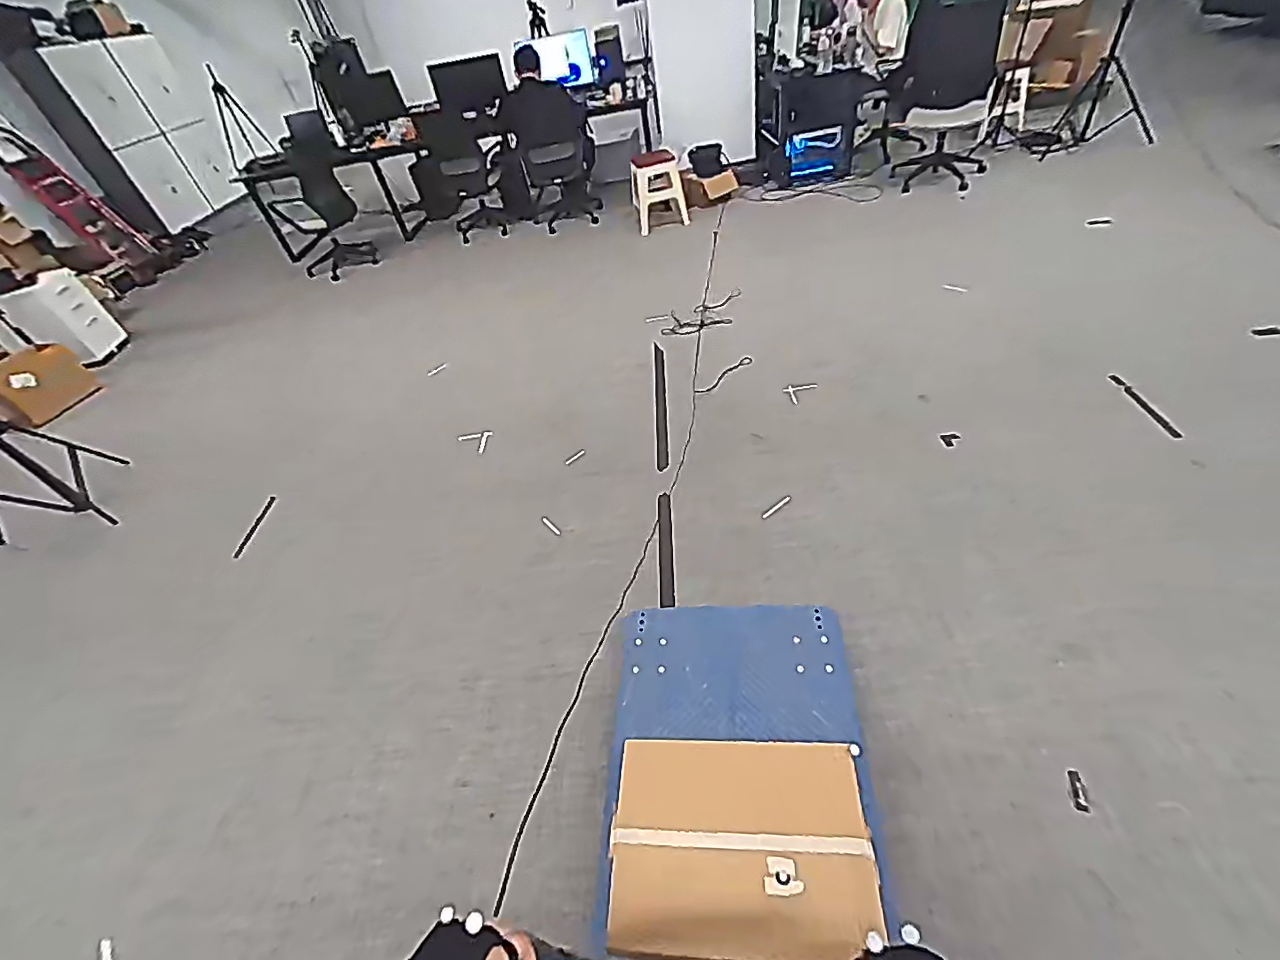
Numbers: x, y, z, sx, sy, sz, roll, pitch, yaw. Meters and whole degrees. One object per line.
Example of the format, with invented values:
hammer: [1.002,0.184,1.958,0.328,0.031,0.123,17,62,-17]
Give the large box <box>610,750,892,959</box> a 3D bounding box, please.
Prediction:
large box: [0.180,0.699,0.957,0.408,0.320,0.320,-3,44,10]
